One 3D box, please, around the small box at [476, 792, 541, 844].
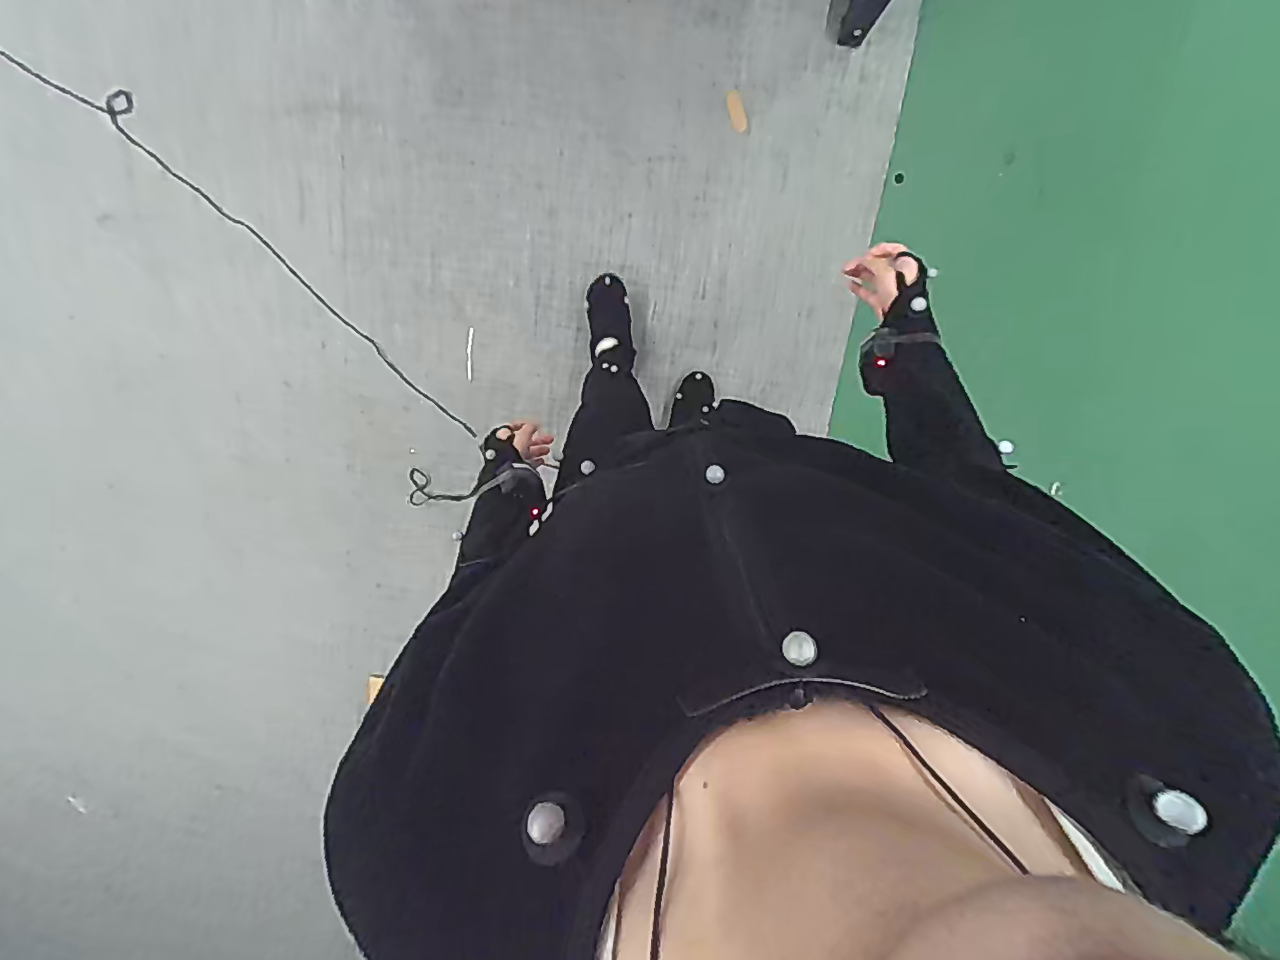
[{"bbox_3d":[-0.416,1.101,1.710,0.168,0.176,0.179,9,105,-1],"label":"small box"}]
